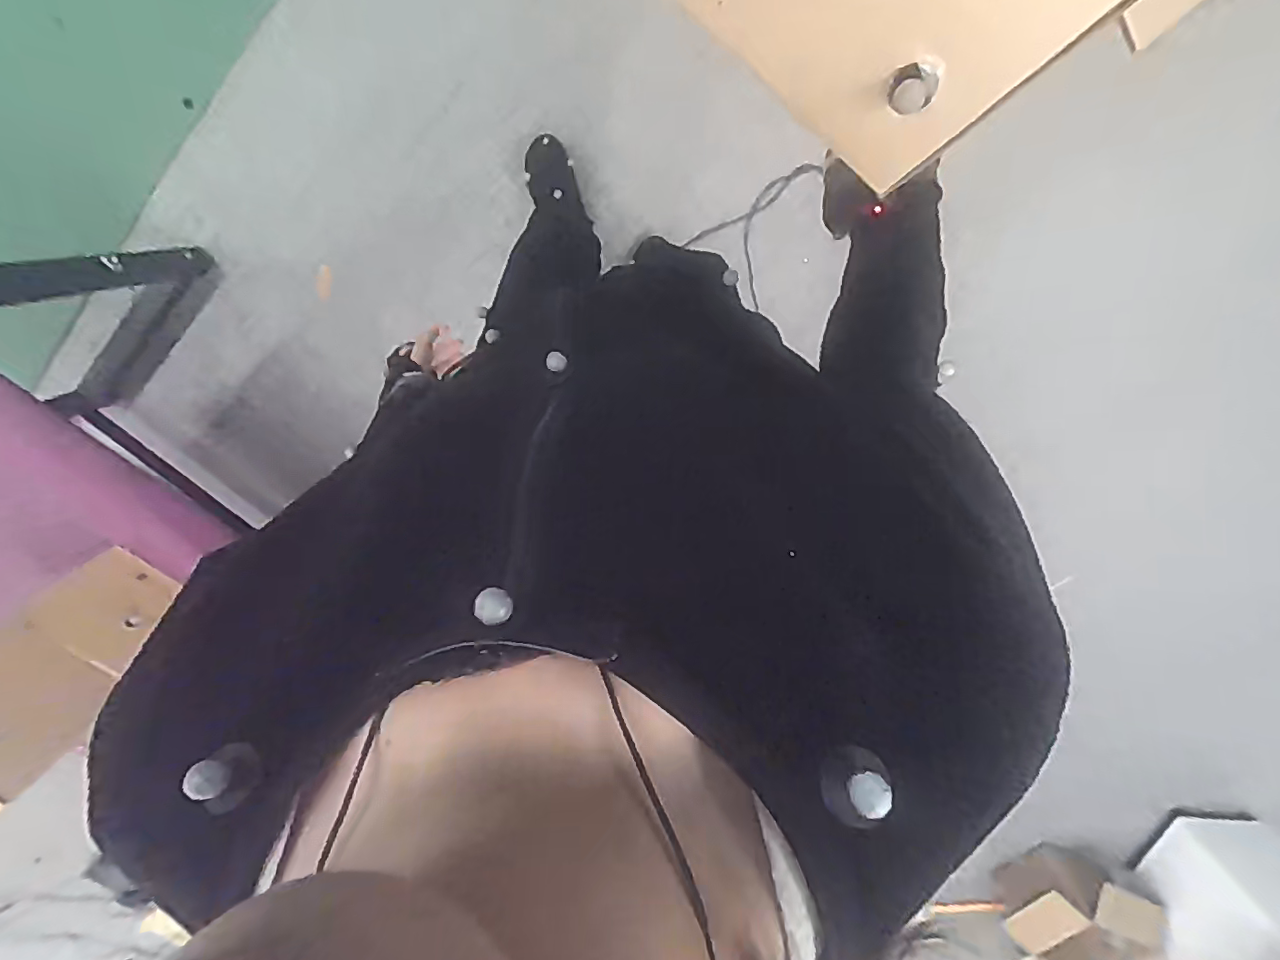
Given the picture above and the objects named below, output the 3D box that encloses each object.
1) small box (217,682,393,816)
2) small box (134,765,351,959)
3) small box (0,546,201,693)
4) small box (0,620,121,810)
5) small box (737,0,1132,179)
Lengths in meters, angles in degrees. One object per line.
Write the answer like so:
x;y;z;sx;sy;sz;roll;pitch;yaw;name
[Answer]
-0.575;0.499;0.954;0.179;0.176;0.168;-39;110;17;small box
-0.568;0.566;0.805;0.179;0.176;0.168;-38;111;17;small box
-0.828;0.234;0.823;0.179;0.176;0.168;-39;111;19;small box
-0.828;0.309;0.676;0.168;0.176;0.179;-36;111;18;small box
0.147;-0.303;0.256;0.176;0.168;0.179;27;150;-24;small box
